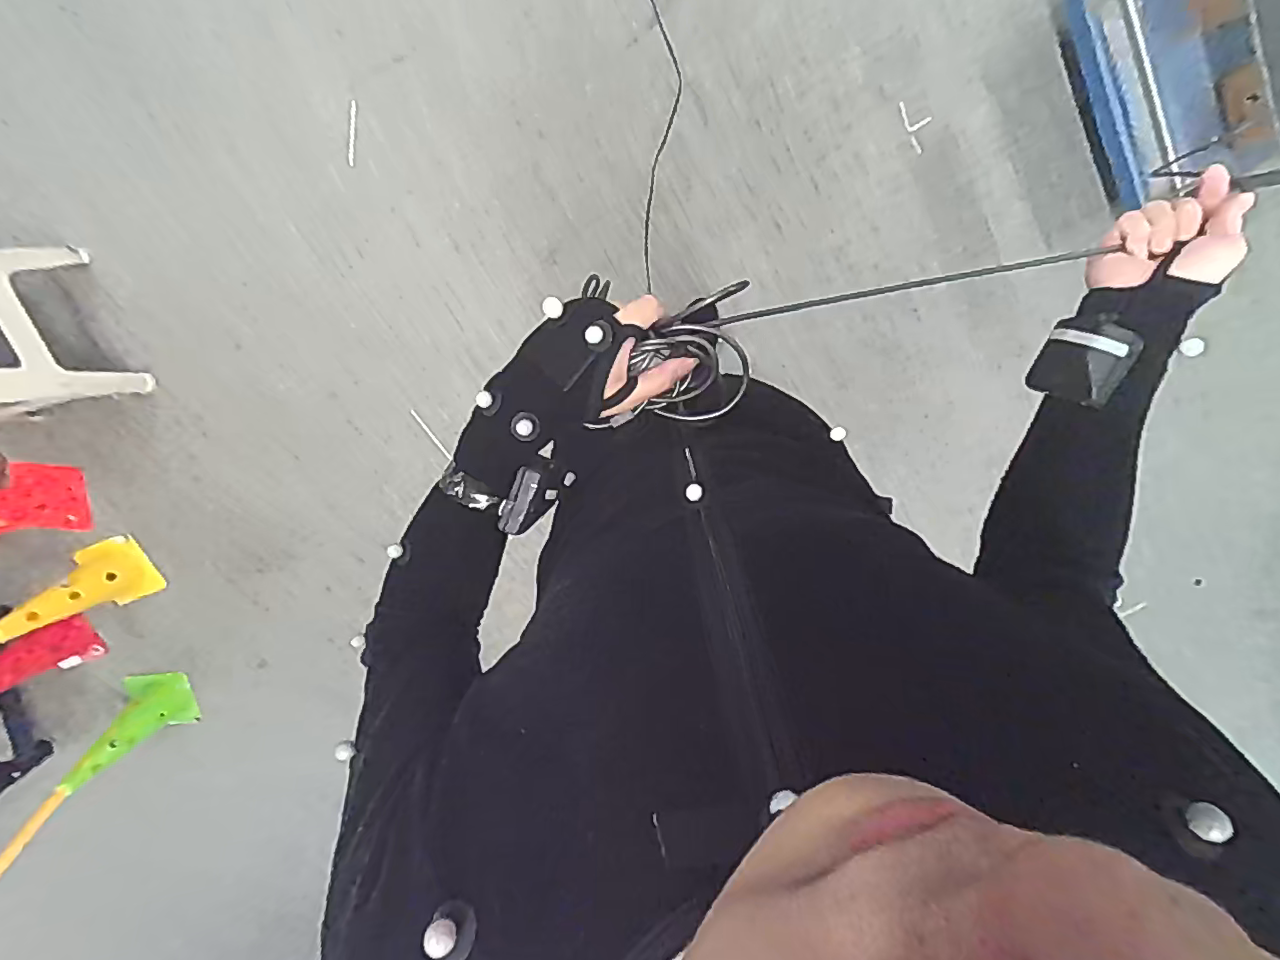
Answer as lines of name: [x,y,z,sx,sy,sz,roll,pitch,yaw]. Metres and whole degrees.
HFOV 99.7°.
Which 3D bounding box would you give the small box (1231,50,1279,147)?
small box: [1.425,-0.842,1.133,0.179,0.176,0.168,-30,105,9]
